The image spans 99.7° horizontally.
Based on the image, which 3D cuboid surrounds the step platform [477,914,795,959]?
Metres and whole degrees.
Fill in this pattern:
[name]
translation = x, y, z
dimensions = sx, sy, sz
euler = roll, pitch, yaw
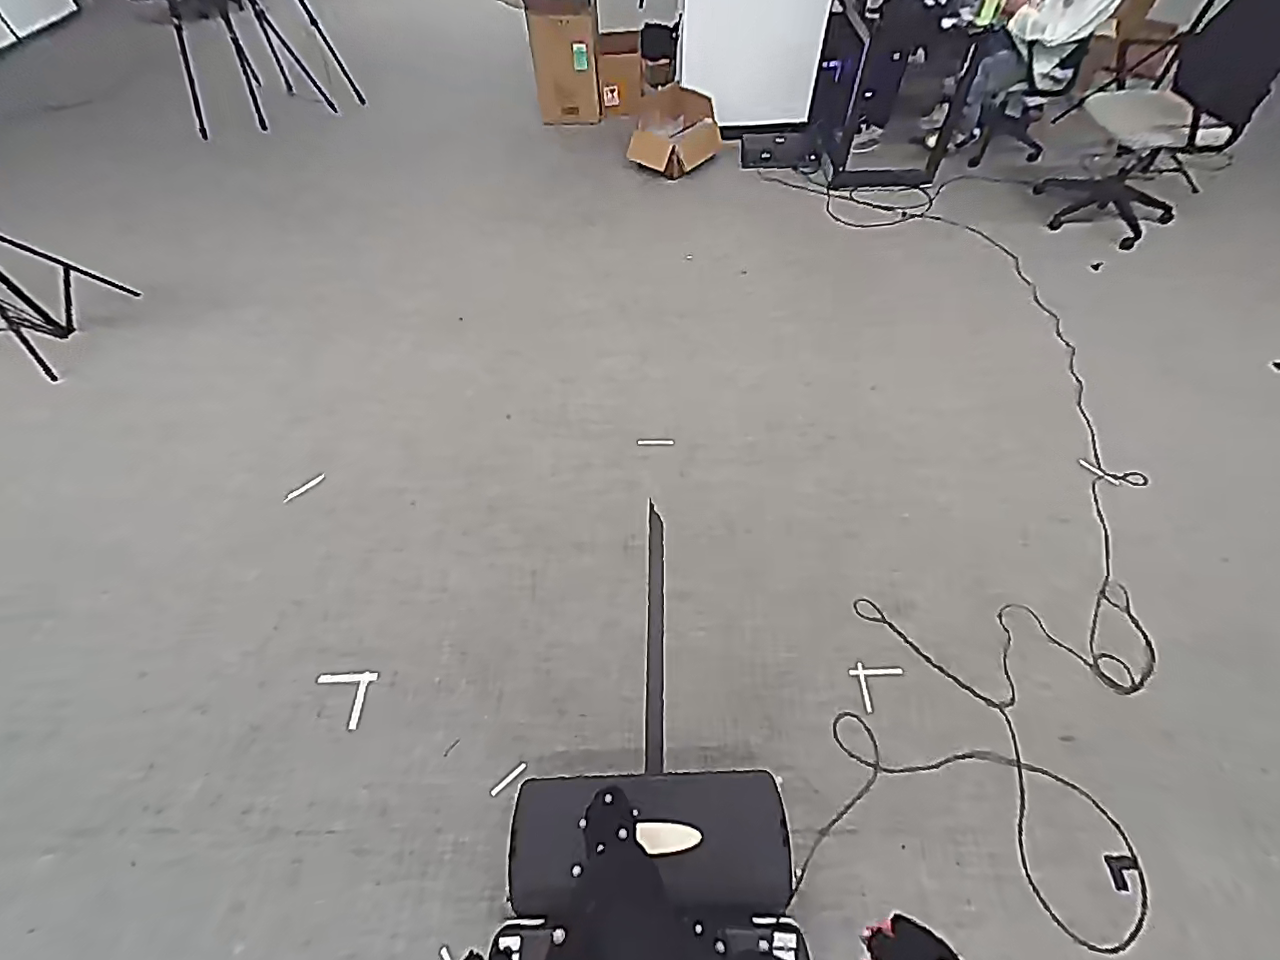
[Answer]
[step platform]
translation = -0.008, 1.090, 1.115
dimensions = 0.684, 0.204, 0.286
euler = -3, 55, 2
